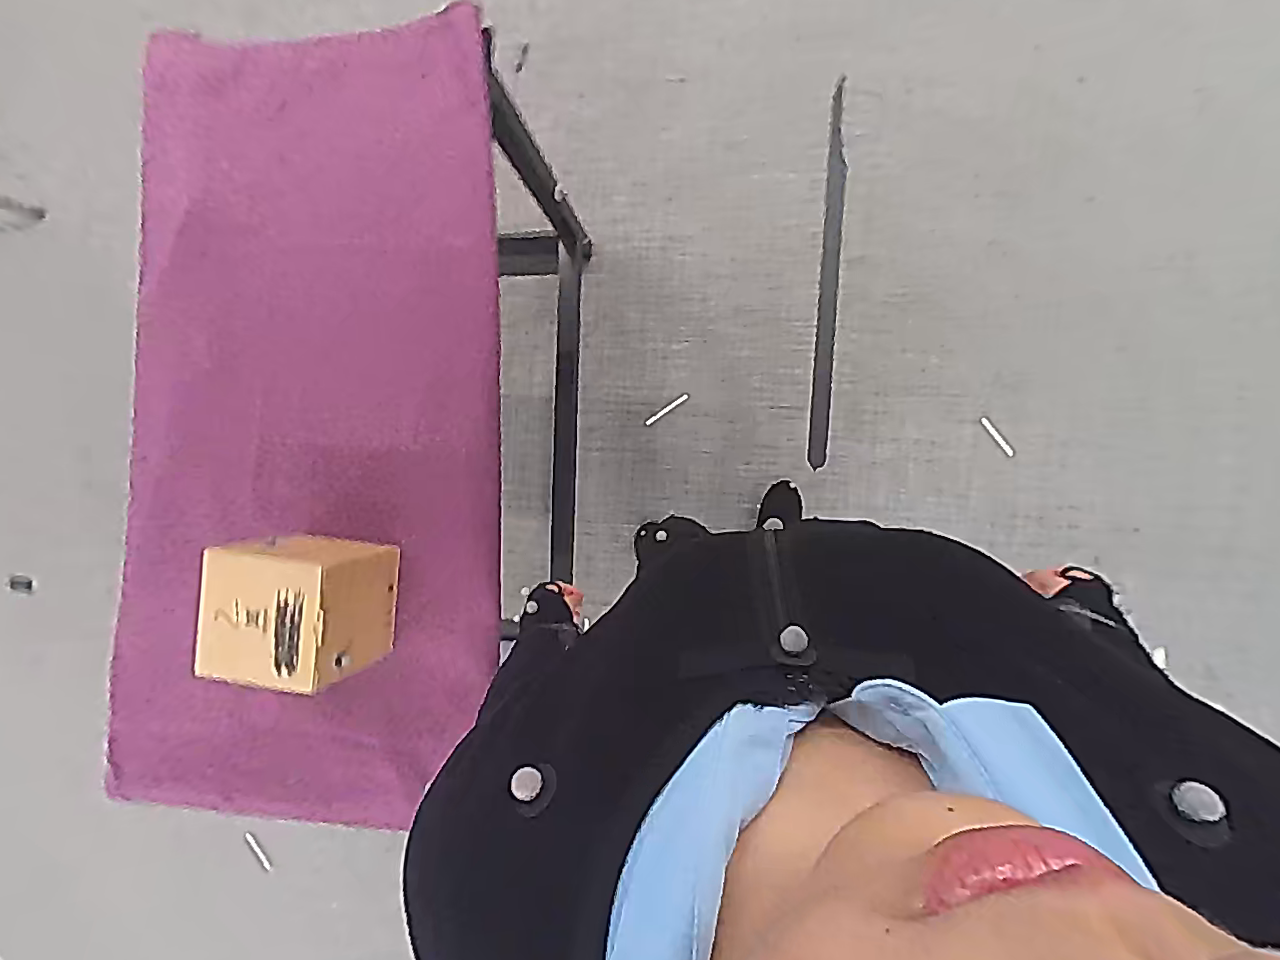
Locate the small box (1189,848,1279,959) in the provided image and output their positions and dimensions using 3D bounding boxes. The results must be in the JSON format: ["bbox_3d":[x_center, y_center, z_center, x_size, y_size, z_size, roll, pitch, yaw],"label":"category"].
[{"bbox_3d":[1.432,0.997,1.243,0.168,0.176,0.179,12,92,8],"label":"small box"}]
